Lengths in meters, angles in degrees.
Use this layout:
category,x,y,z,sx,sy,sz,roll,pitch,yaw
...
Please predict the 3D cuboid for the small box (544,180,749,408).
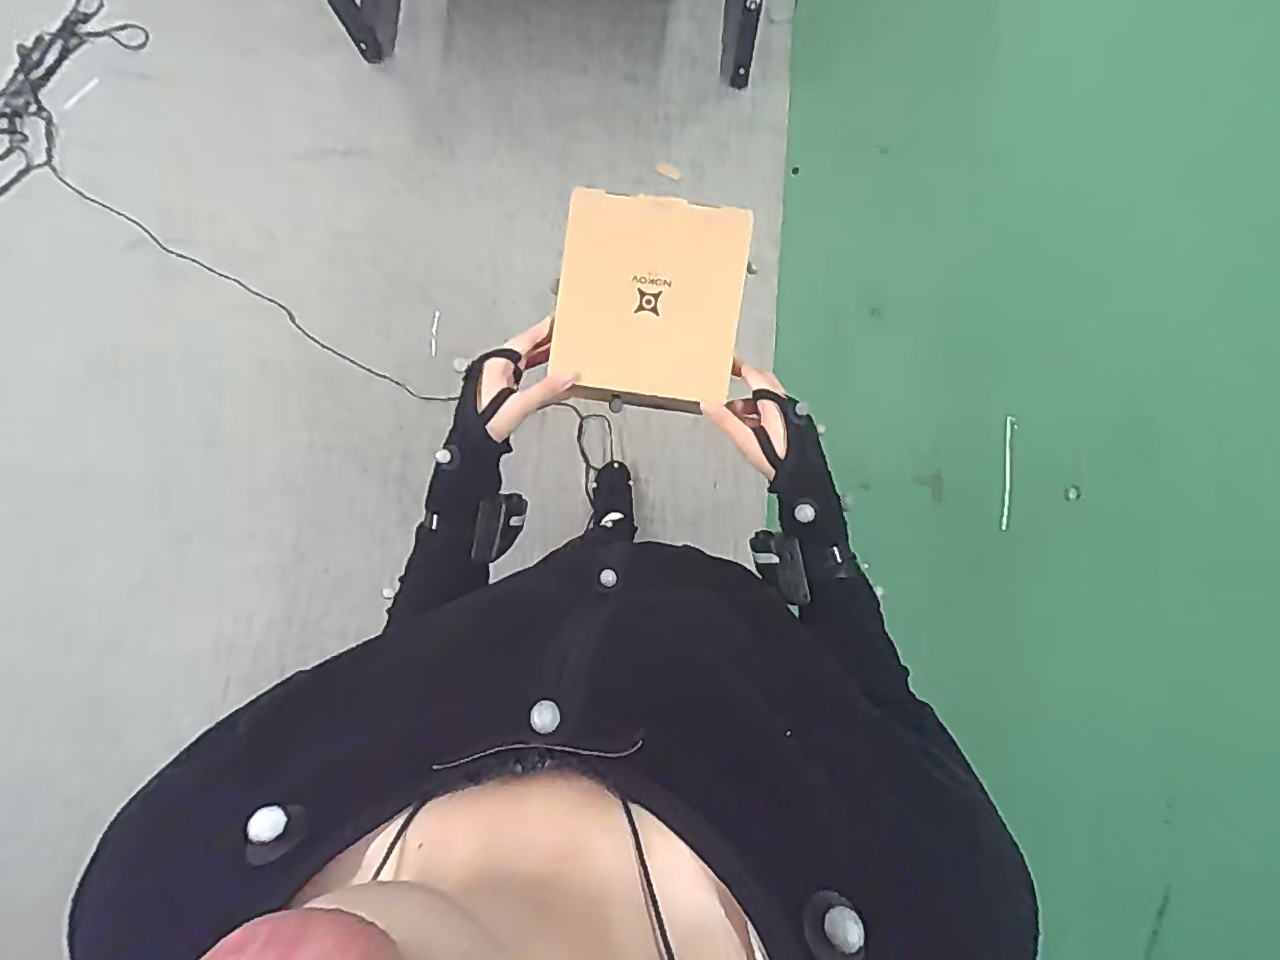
category,x,y,z,sx,sy,sz,roll,pitch,yaw
small box,0.007,-0.174,0.560,0.168,0.176,0.179,8,93,1
